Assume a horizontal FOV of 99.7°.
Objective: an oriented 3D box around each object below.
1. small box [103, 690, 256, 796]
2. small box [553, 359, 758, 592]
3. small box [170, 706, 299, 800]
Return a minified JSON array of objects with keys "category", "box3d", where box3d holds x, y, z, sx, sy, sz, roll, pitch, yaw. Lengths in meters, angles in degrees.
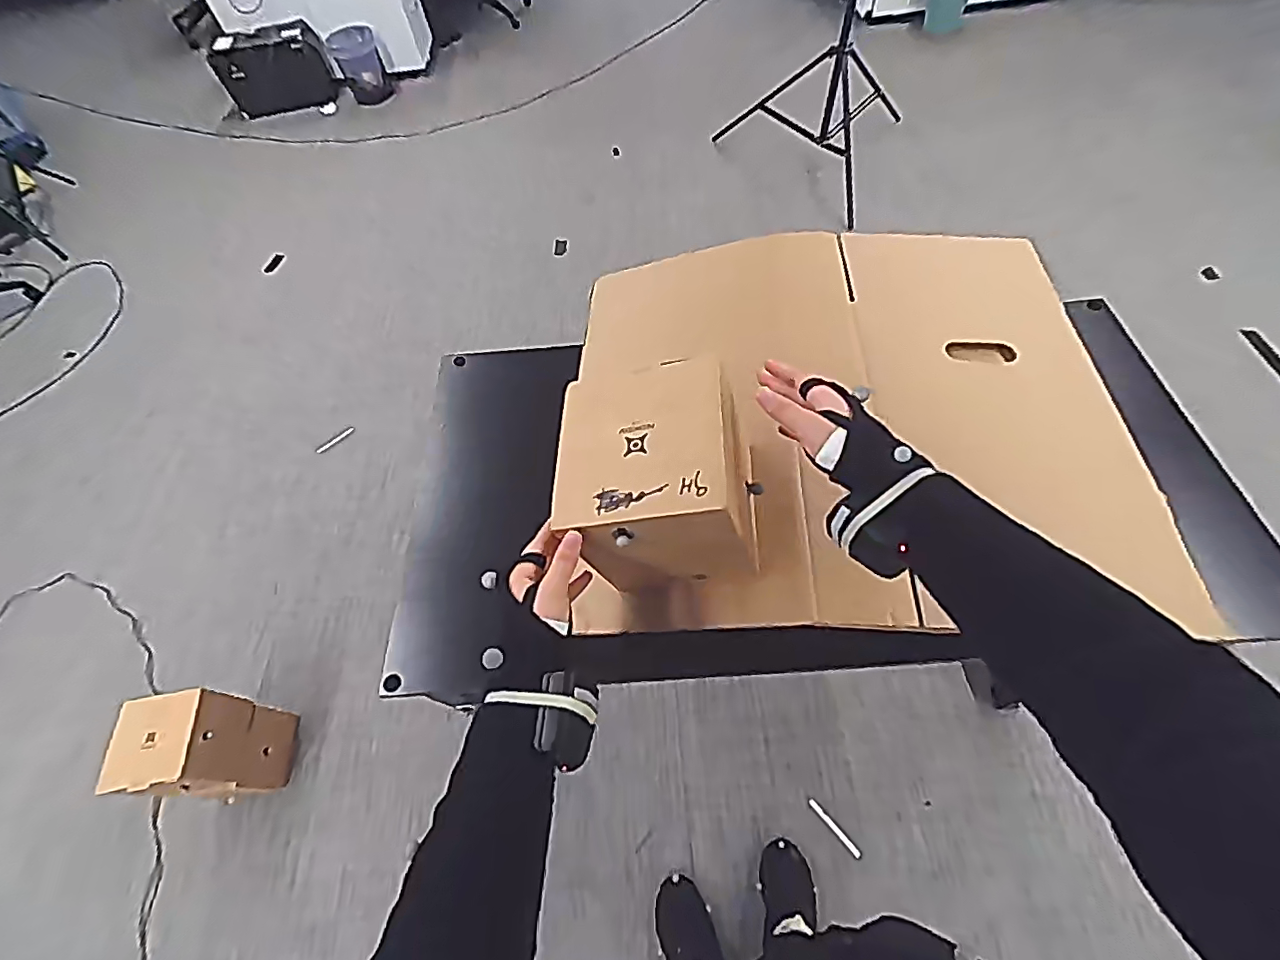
[{"category":"small box","box3d":[-0.973,0.570,1.165,0.168,0.176,0.179,-10,57,-2]},{"category":"small box","box3d":[0.028,0.004,0.577,0.168,0.176,0.179,-9,57,18]},{"category":"small box","box3d":[-0.958,0.659,1.300,0.168,0.176,0.179,-8,59,1]}]
